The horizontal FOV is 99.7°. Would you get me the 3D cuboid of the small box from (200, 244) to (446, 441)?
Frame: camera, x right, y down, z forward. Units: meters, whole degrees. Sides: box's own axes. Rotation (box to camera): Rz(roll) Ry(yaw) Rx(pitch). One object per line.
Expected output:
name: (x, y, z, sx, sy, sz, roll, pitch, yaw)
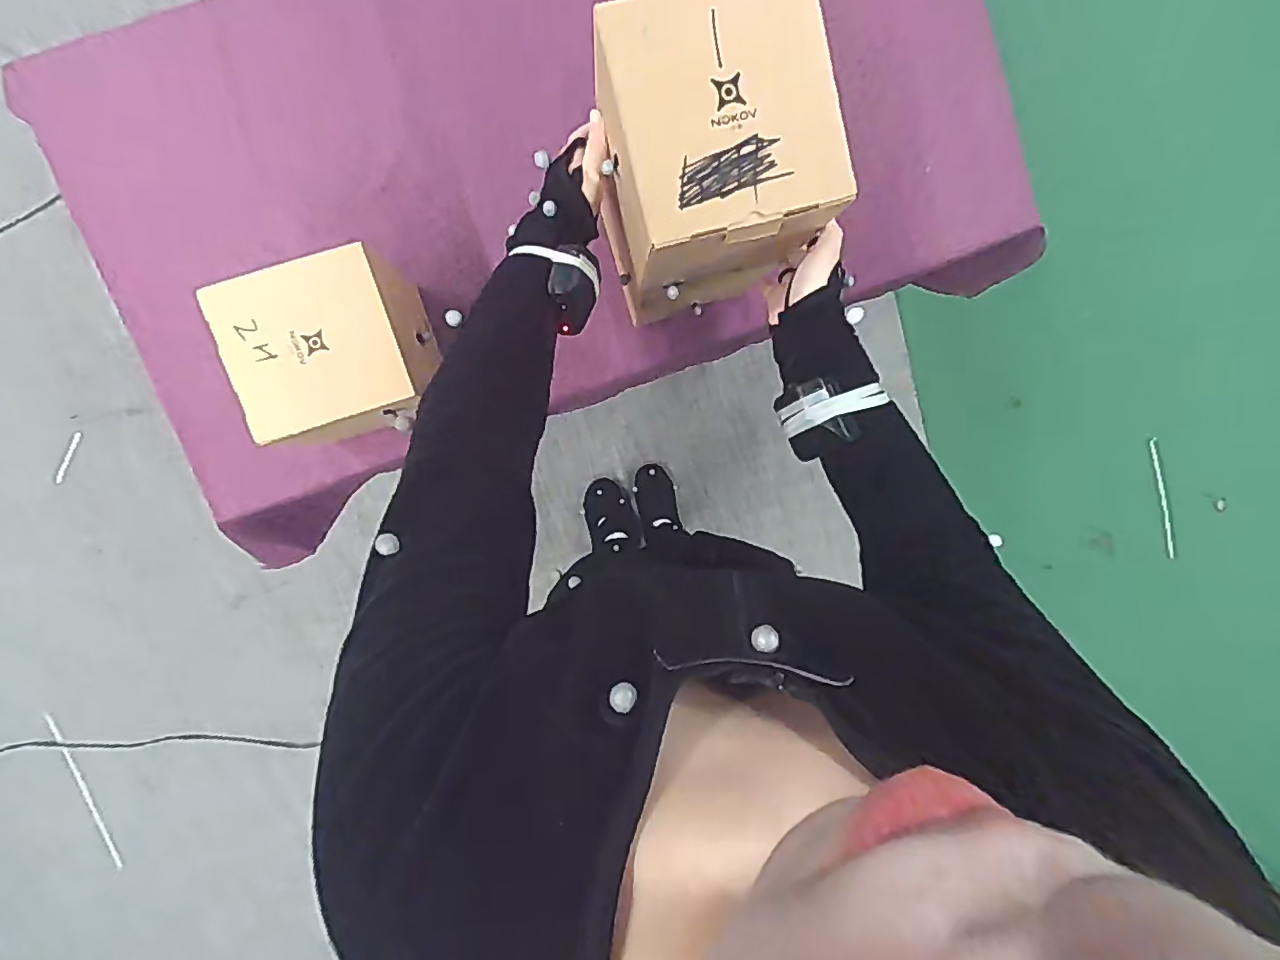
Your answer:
small box: (-0.349, -0.151, 0.640, 0.179, 0.176, 0.168, -18, 96, -2)
